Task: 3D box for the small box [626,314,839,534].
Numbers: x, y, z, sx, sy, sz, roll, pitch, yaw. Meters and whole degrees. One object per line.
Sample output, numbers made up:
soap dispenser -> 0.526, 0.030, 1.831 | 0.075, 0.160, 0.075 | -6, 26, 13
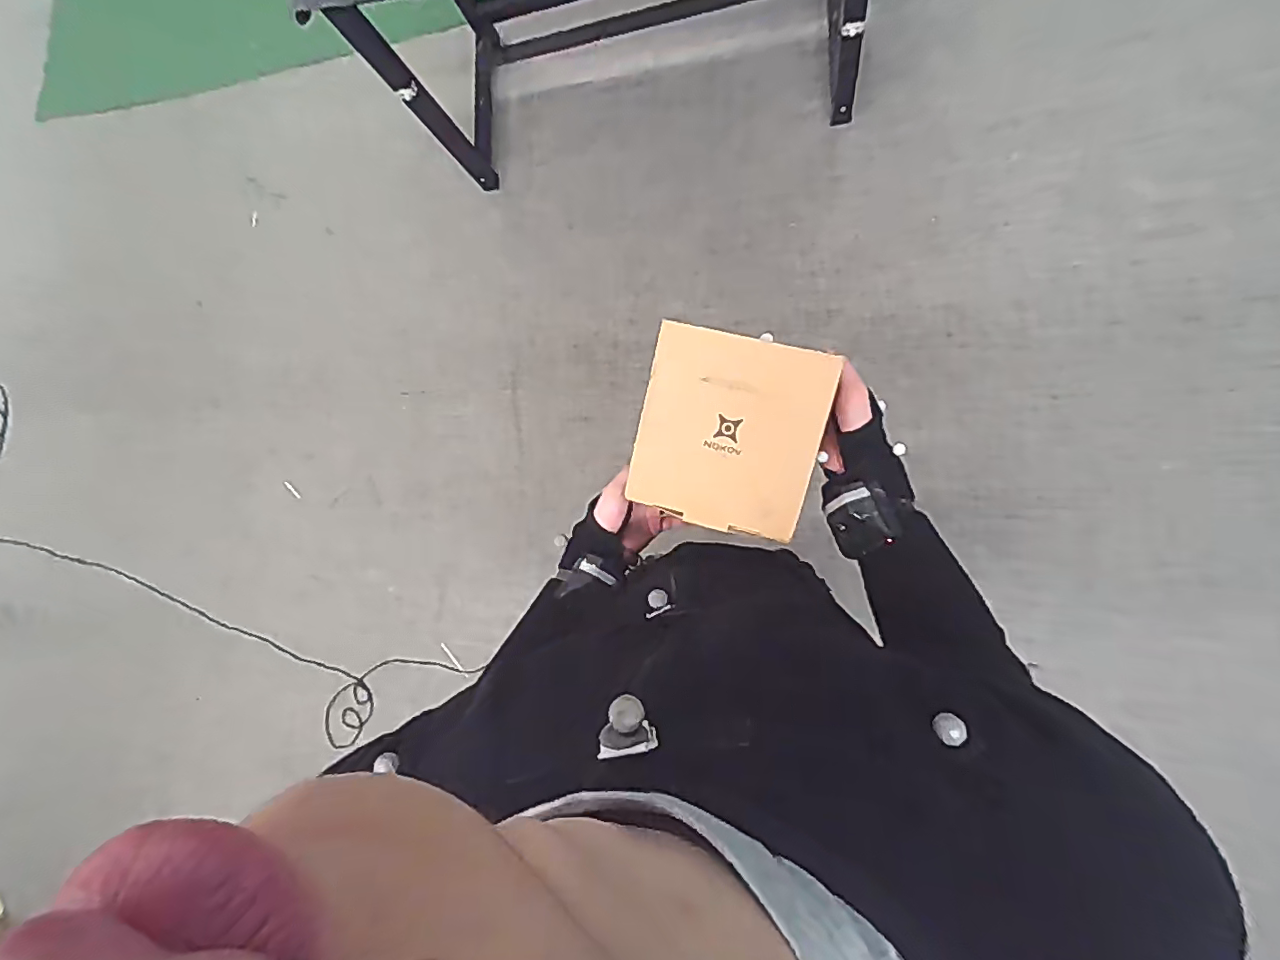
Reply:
small box -> 0.096, -0.063, 0.577 | 0.168, 0.176, 0.179 | 14, 101, 8
